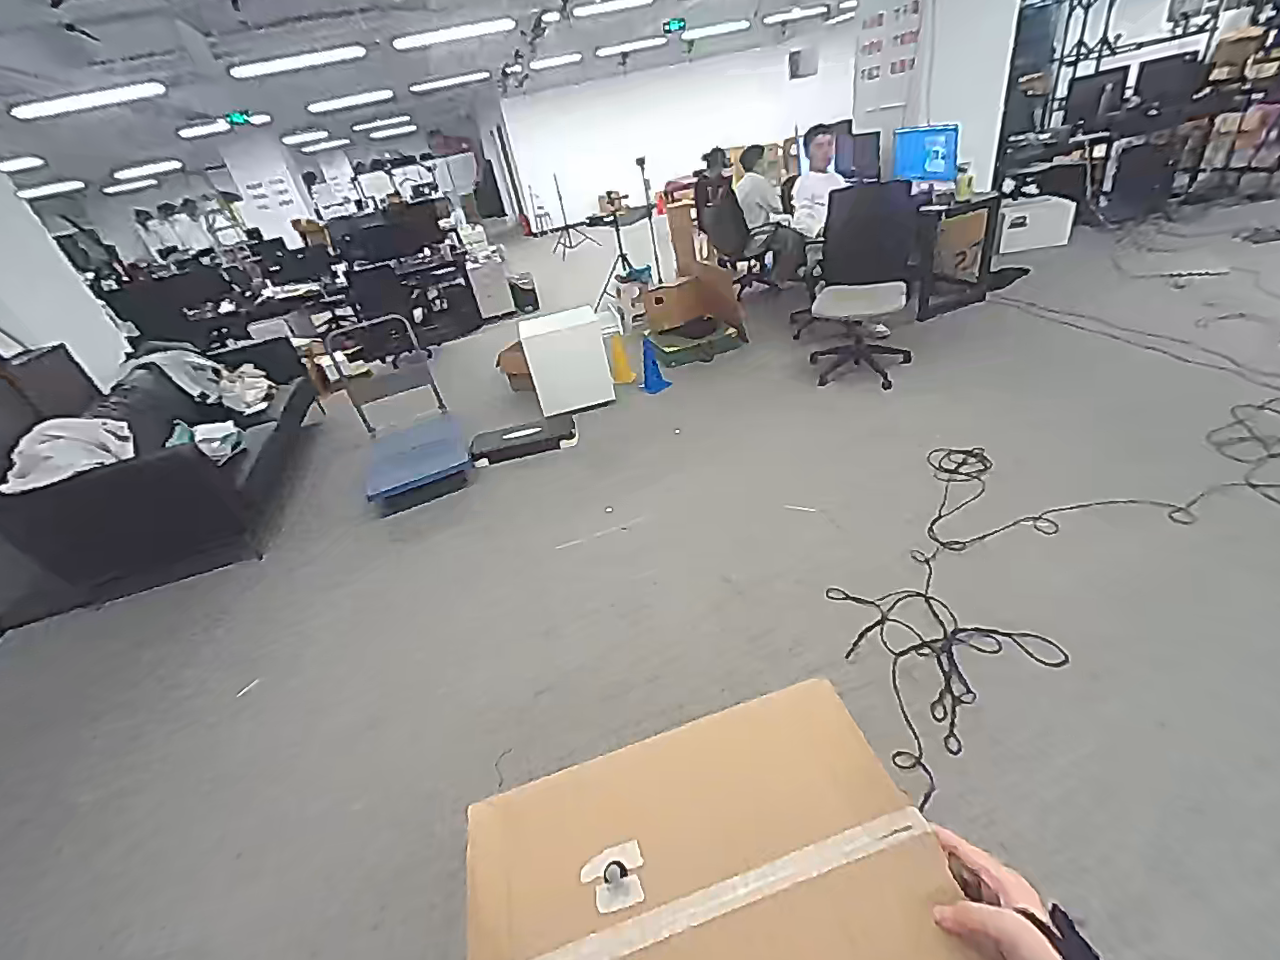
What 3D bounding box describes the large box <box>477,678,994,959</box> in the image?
[{"bbox_3d":[0.088,0.481,0.560,0.408,0.320,0.320,-20,38,-4],"label":"large box"}]
